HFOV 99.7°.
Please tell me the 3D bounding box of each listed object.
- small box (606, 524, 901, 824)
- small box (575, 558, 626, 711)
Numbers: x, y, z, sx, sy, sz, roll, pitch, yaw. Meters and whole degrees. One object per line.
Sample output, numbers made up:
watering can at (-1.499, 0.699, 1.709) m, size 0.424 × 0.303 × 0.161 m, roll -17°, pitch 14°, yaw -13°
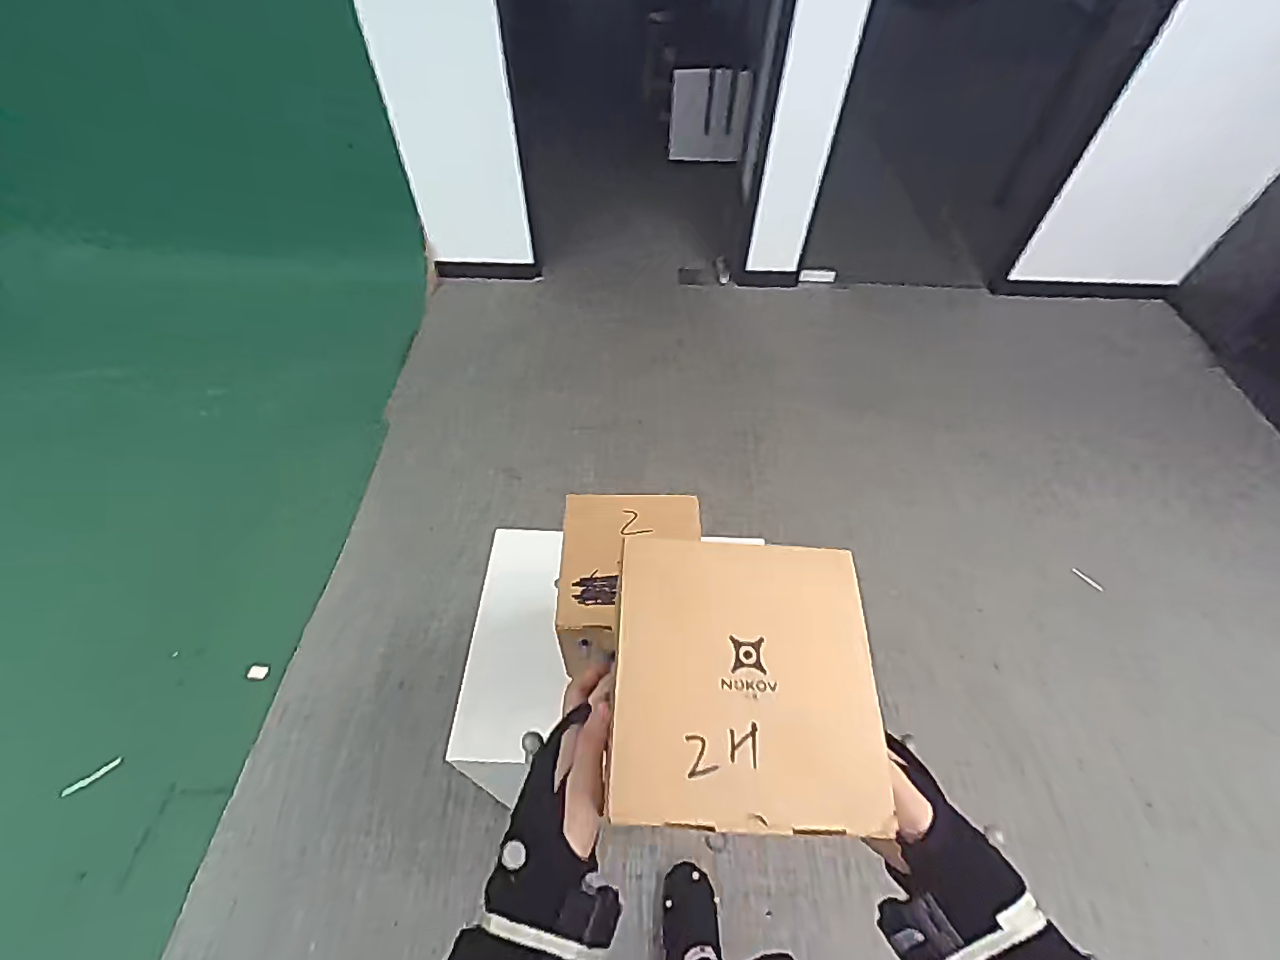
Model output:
small box at (0.062, 0.152, 0.408) m, size 0.168 × 0.176 × 0.179 m, roll 4°, pitch 59°, yaw -2°
small box at (-0.003, 0.237, 0.814) m, size 0.168 × 0.176 × 0.179 m, roll 2°, pitch 52°, yaw 0°
